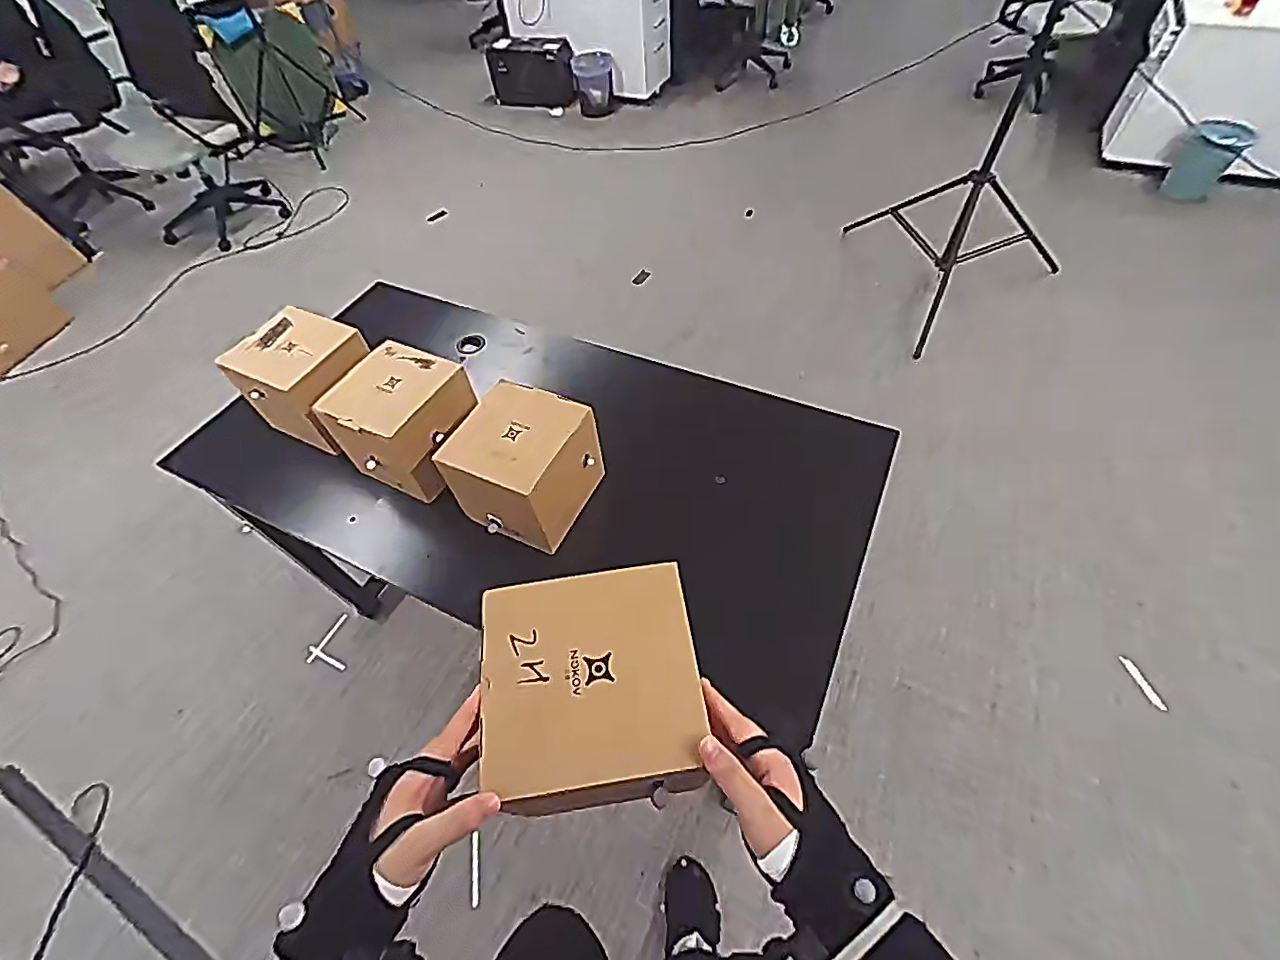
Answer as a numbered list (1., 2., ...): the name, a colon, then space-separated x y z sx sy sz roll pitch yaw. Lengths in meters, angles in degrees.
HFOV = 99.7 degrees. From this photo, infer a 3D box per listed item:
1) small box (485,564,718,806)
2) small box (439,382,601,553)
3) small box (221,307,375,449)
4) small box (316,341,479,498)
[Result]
1. small box: -0.034 0.197 0.506 0.179 0.176 0.168 -8 55 -2
2. small box: -0.171 -0.018 0.844 0.168 0.176 0.179 19 58 18
3. small box: -0.590 -0.181 0.986 0.179 0.176 0.168 21 59 17
4. small box: -0.386 -0.097 0.913 0.168 0.176 0.179 21 59 17
